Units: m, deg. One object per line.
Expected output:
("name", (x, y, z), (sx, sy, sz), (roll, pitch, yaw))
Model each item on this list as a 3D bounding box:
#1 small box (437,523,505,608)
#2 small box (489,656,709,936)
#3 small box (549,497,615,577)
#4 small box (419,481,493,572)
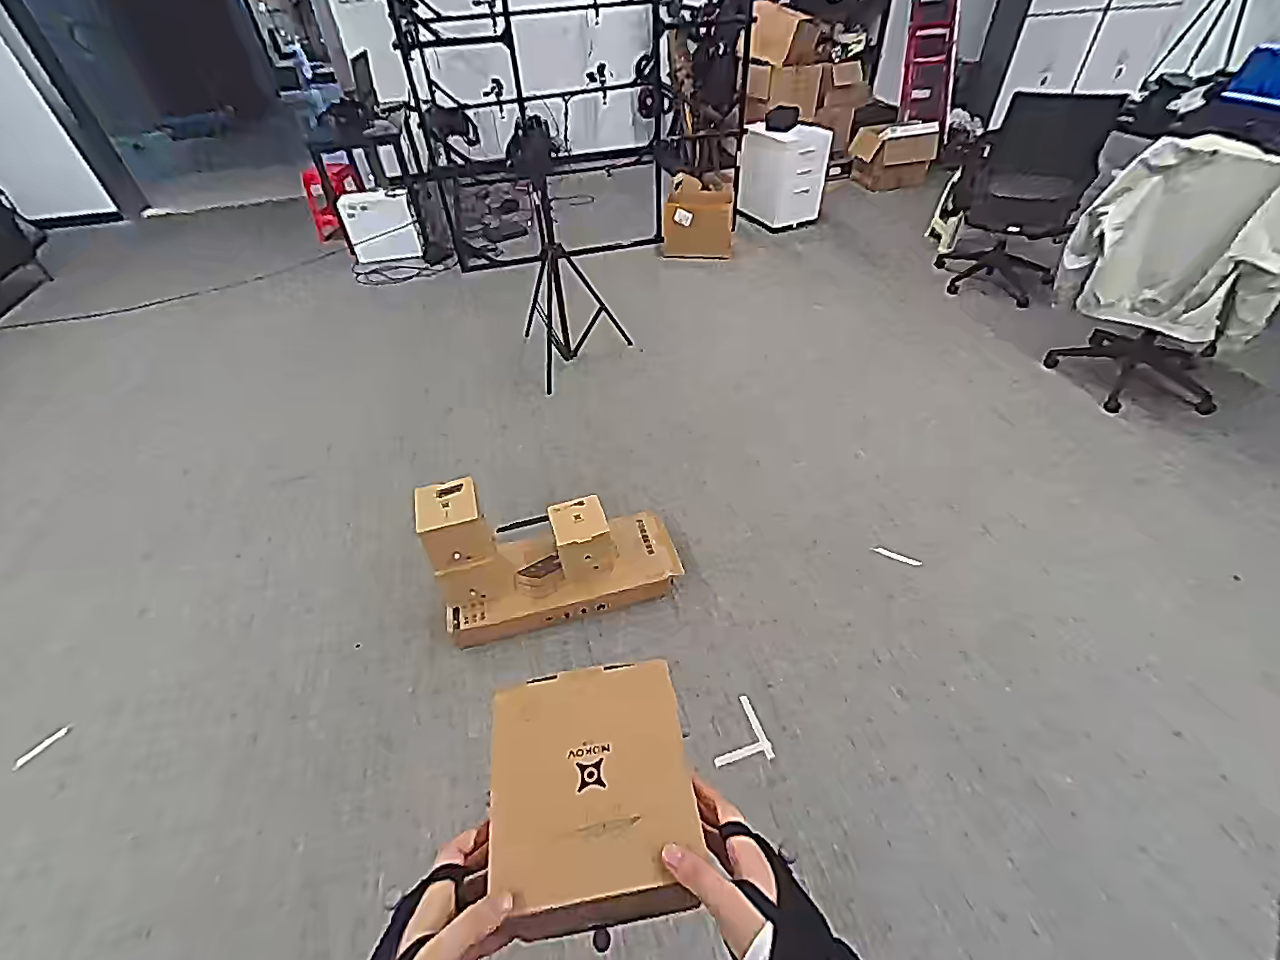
("small box", (-0.519, 0.264, 1.666), (0.168, 0.176, 0.179), (-13, 44, -10))
("small box", (-0.039, 0.296, 0.510), (0.168, 0.176, 0.179), (-8, 45, -5))
("small box", (-0.183, 0.189, 1.728), (0.168, 0.176, 0.179), (-15, 45, -10))
("small box", (-0.532, 0.135, 1.565), (0.168, 0.176, 0.179), (-14, 44, -11))
